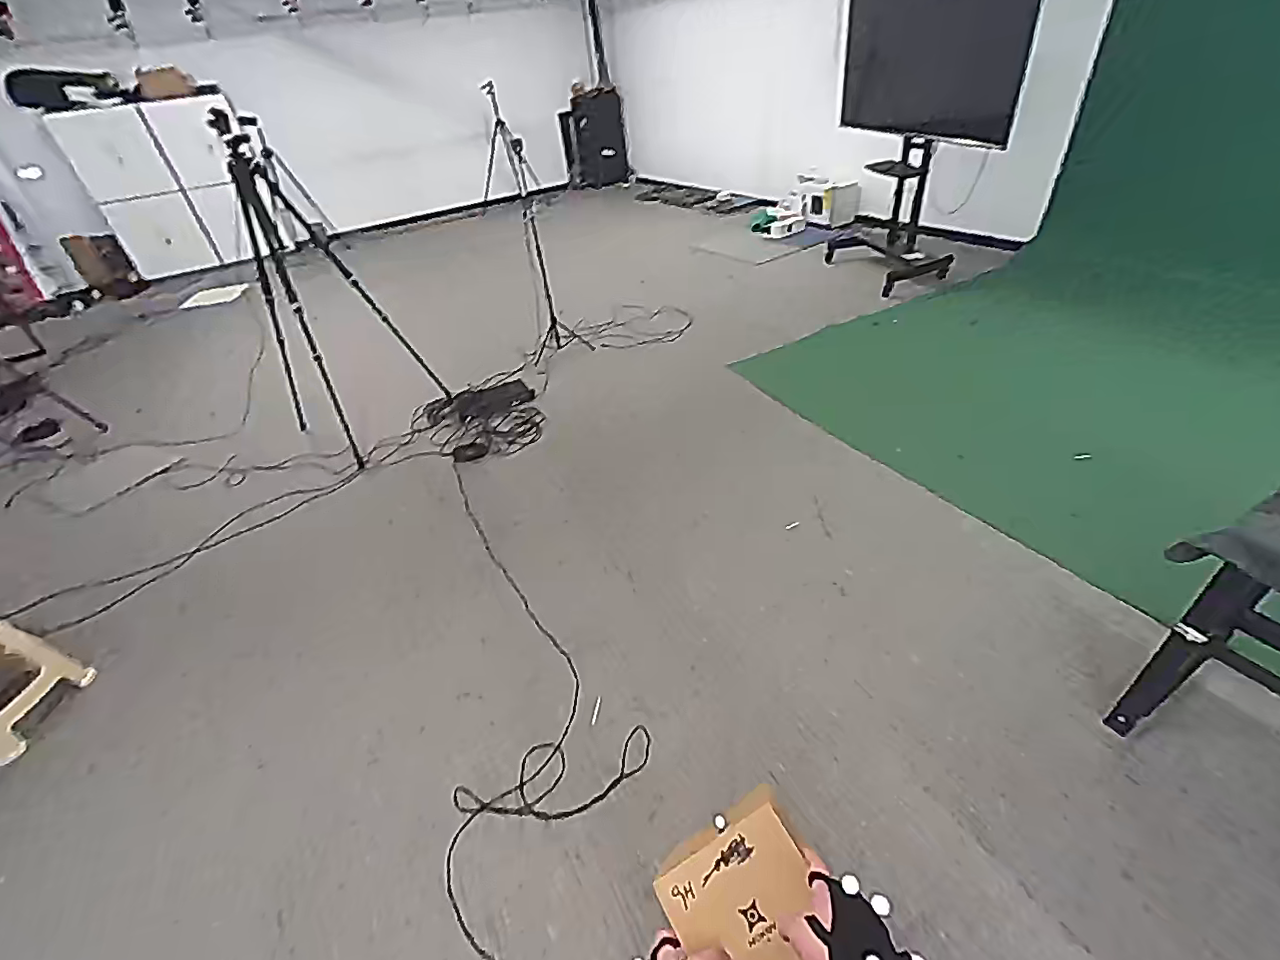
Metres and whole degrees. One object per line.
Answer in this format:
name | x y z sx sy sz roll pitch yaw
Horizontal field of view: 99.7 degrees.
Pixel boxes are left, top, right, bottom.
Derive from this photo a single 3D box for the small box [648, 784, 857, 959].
small box | 0.137 0.512 0.671 0.168 0.176 0.179 -35 64 -2
